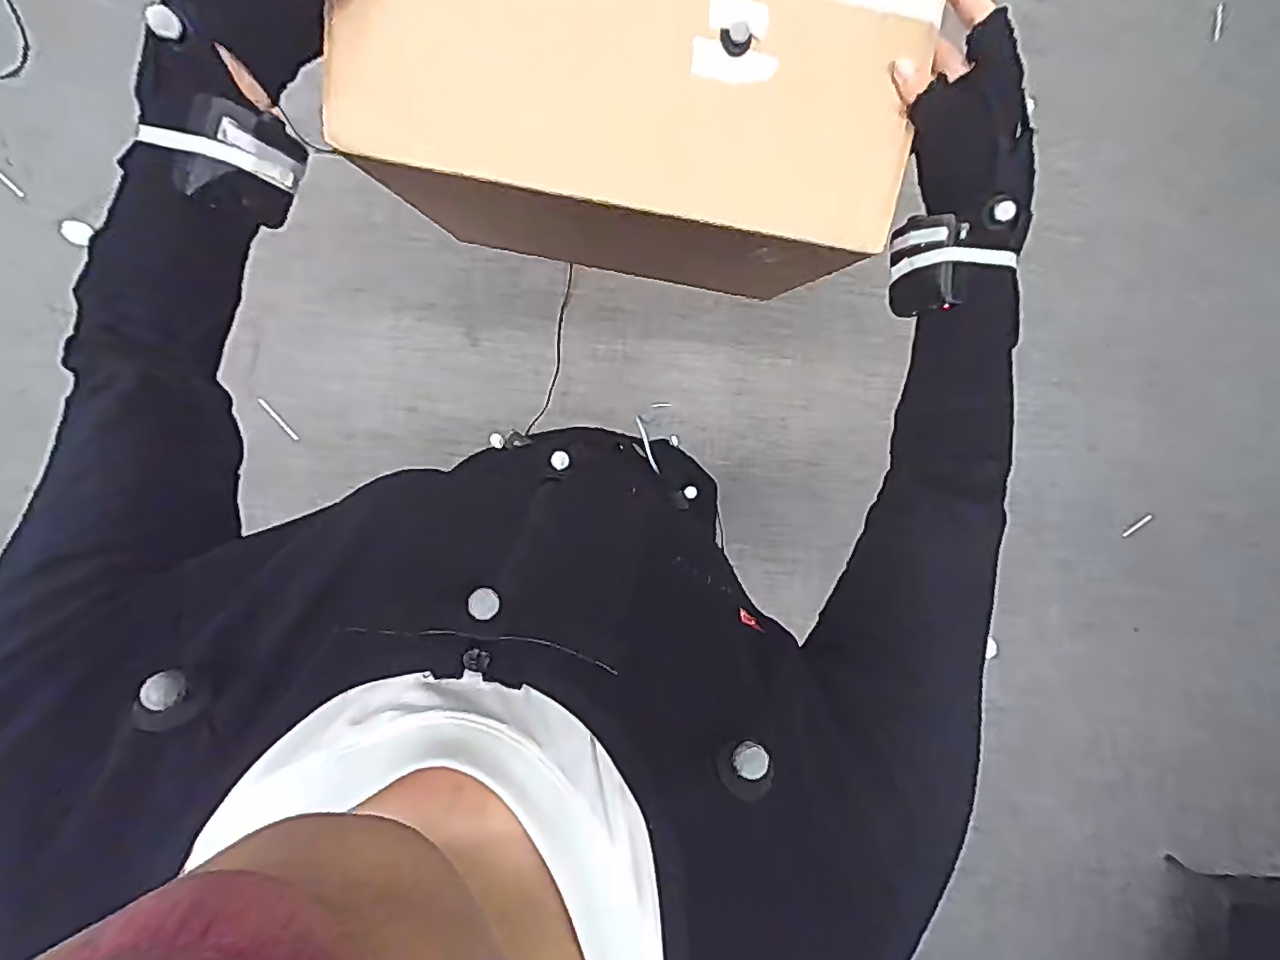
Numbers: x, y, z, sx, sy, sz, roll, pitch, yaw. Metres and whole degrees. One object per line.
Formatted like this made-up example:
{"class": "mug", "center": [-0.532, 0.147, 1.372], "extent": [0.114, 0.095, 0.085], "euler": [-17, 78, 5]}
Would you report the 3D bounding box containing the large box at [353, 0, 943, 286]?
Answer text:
{"class": "large box", "center": [0.006, -0.390, 0.507], "extent": [0.408, 0.320, 0.320], "euler": [8, 103, -5]}
